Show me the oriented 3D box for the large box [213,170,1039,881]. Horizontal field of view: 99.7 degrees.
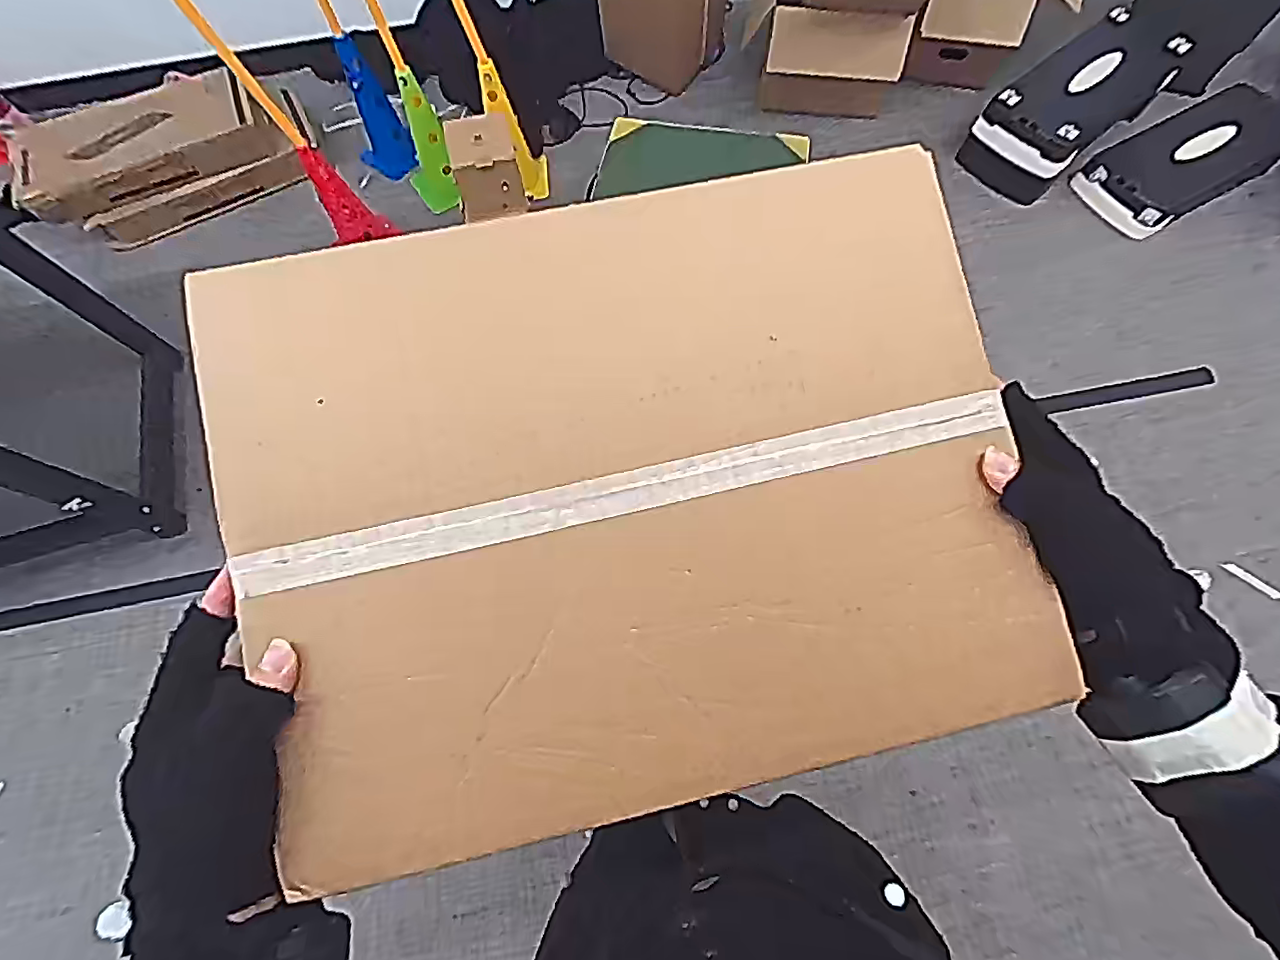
[{"bbox_3d":[-0.011,0.020,0.440,0.408,0.320,0.320,-12,84,-4],"label":"large box"}]
